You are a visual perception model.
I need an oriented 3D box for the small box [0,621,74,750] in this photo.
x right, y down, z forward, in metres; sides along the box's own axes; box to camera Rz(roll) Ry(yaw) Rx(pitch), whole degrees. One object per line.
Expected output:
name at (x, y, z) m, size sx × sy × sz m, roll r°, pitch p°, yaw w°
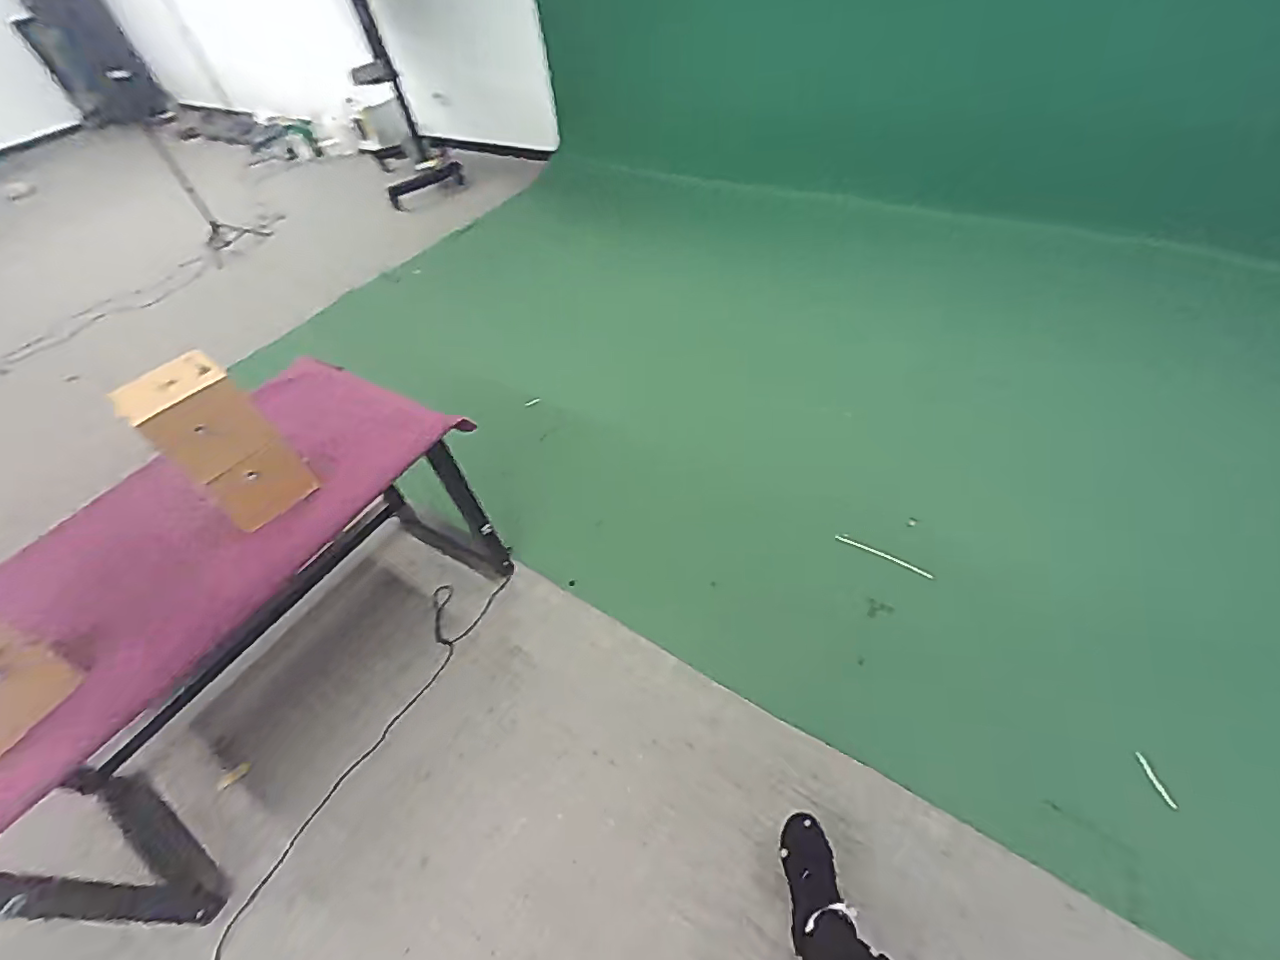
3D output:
small box at (-1.145, 0.346, 0.927) m, size 0.168 × 0.176 × 0.179 m, roll 19°, pitch 55°, yaw 23°

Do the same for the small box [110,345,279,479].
small box at (-0.881, -0.133, 1.083) m, size 0.168 × 0.176 × 0.179 m, roll 31°, pitch 61°, yaw 28°

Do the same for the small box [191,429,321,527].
small box at (-0.864, -0.028, 1.207) m, size 0.168 × 0.176 × 0.179 m, roll 33°, pitch 61°, yaw 30°
